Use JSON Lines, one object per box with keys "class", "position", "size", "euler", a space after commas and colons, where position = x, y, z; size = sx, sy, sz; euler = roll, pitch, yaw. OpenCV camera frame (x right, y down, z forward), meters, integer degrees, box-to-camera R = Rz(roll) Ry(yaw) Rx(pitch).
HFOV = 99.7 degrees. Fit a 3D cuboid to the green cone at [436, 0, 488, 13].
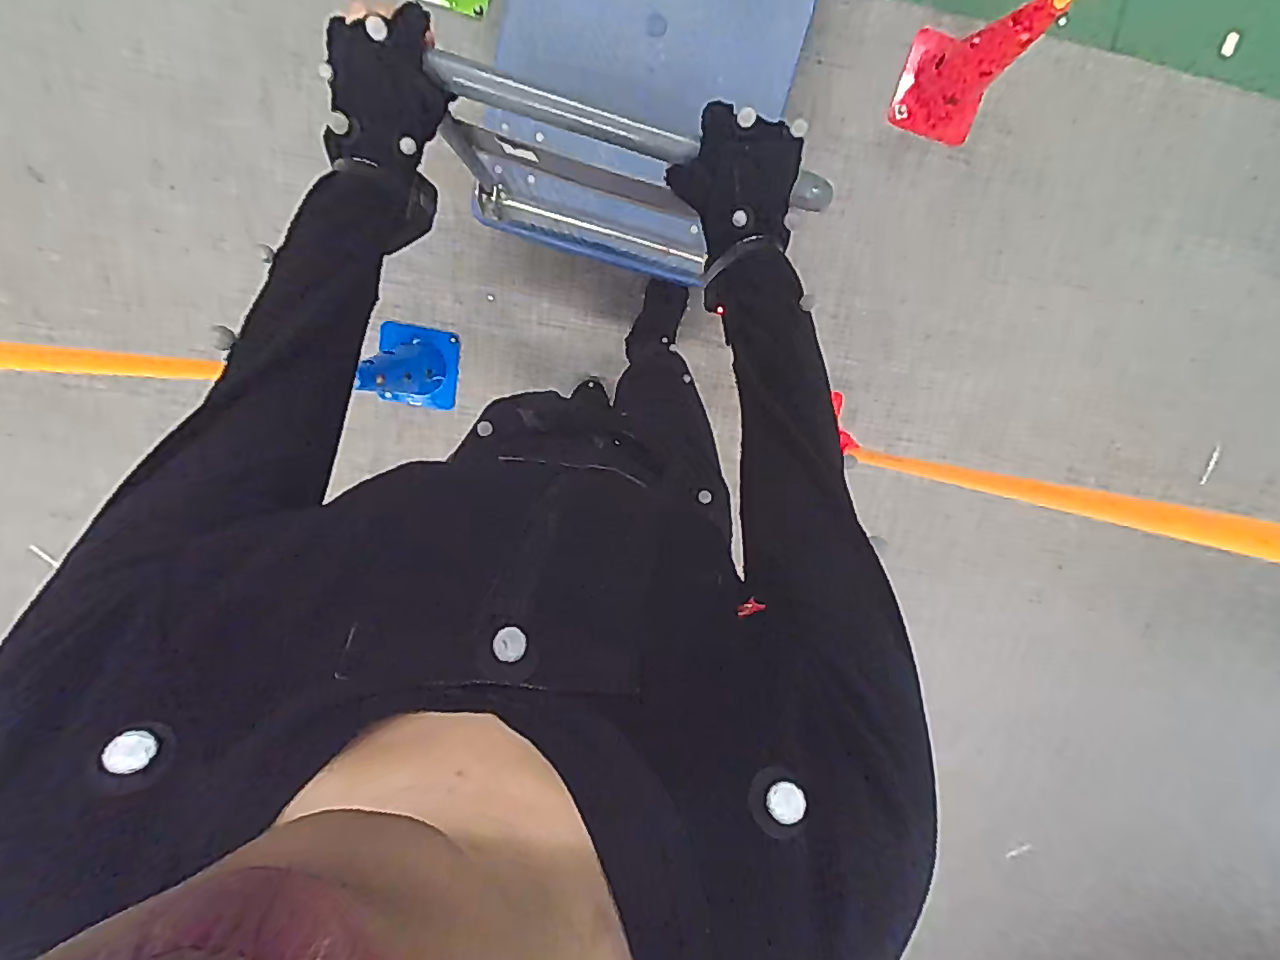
{"class": "green cone", "position": [-0.405, -1.089, 0.986], "size": [0.202, 0.368, 0.200], "euler": [14, 104, -5]}
